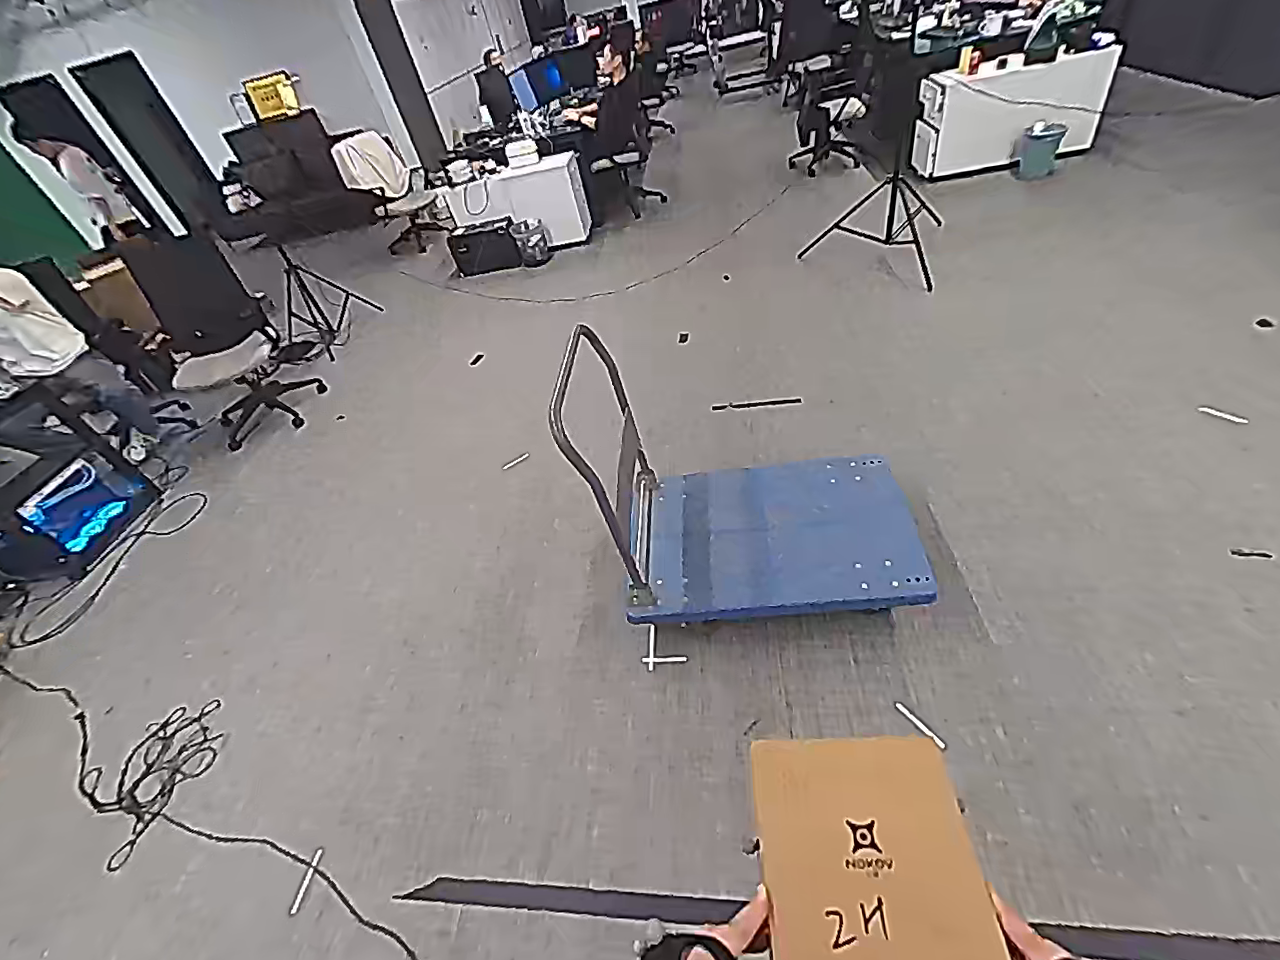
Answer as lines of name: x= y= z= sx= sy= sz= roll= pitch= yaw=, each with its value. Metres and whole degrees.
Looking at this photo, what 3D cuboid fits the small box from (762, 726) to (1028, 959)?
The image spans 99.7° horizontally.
small box: x=0.202 y=0.345 z=0.487 sx=0.168 sy=0.176 sz=0.179 roll=-5 pitch=43 yaw=8
